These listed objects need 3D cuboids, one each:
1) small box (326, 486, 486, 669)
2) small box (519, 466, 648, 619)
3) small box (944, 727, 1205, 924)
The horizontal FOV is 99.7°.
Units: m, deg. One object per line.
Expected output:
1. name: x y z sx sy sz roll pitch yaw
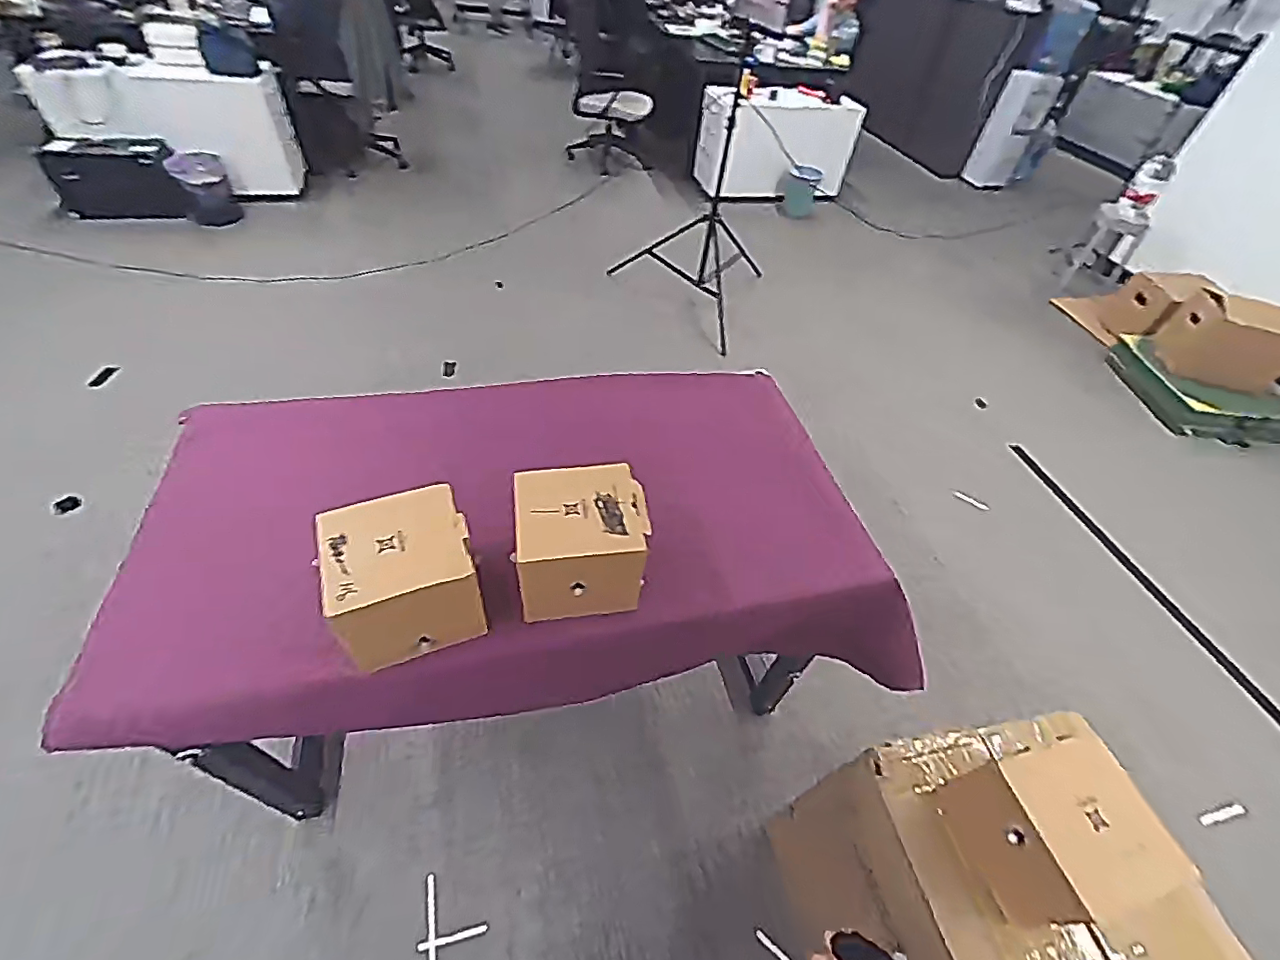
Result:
1. small box: -0.325 0.138 0.772 0.179 0.176 0.168 -14 50 -21
2. small box: -0.093 0.098 0.837 0.179 0.176 0.168 -4 48 -10
3. small box: 0.556 0.464 0.726 0.168 0.176 0.179 -10 51 -12
